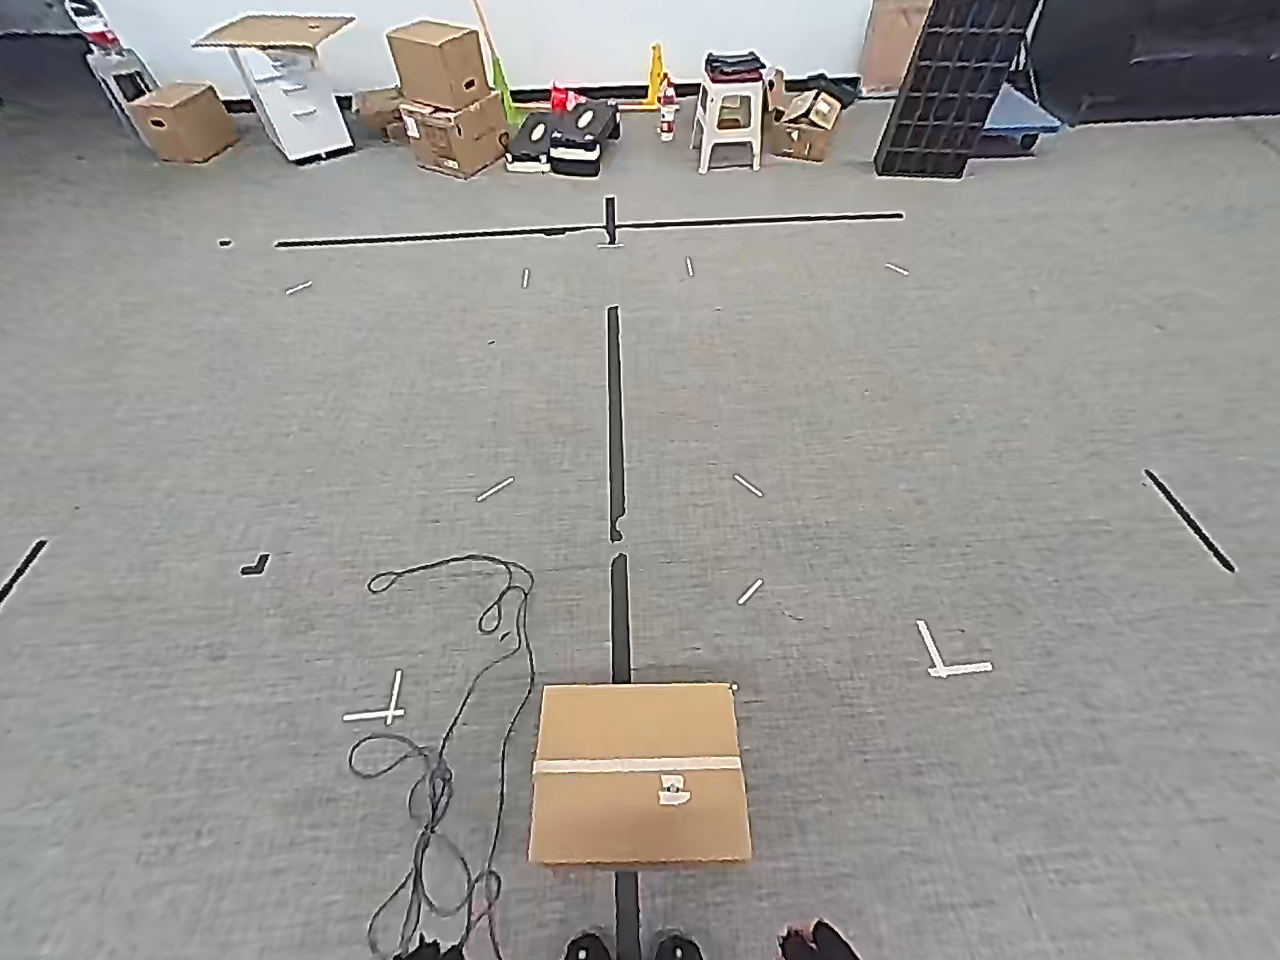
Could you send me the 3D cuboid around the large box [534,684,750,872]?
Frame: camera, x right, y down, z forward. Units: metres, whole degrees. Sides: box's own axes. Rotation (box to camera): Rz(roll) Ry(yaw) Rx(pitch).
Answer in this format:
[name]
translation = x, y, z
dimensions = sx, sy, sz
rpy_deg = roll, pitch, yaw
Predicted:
[large box]
translation = 0.000, 0.658, 1.188
dimensions = 0.408, 0.320, 0.320
rpy_deg = 0, 52, 0
